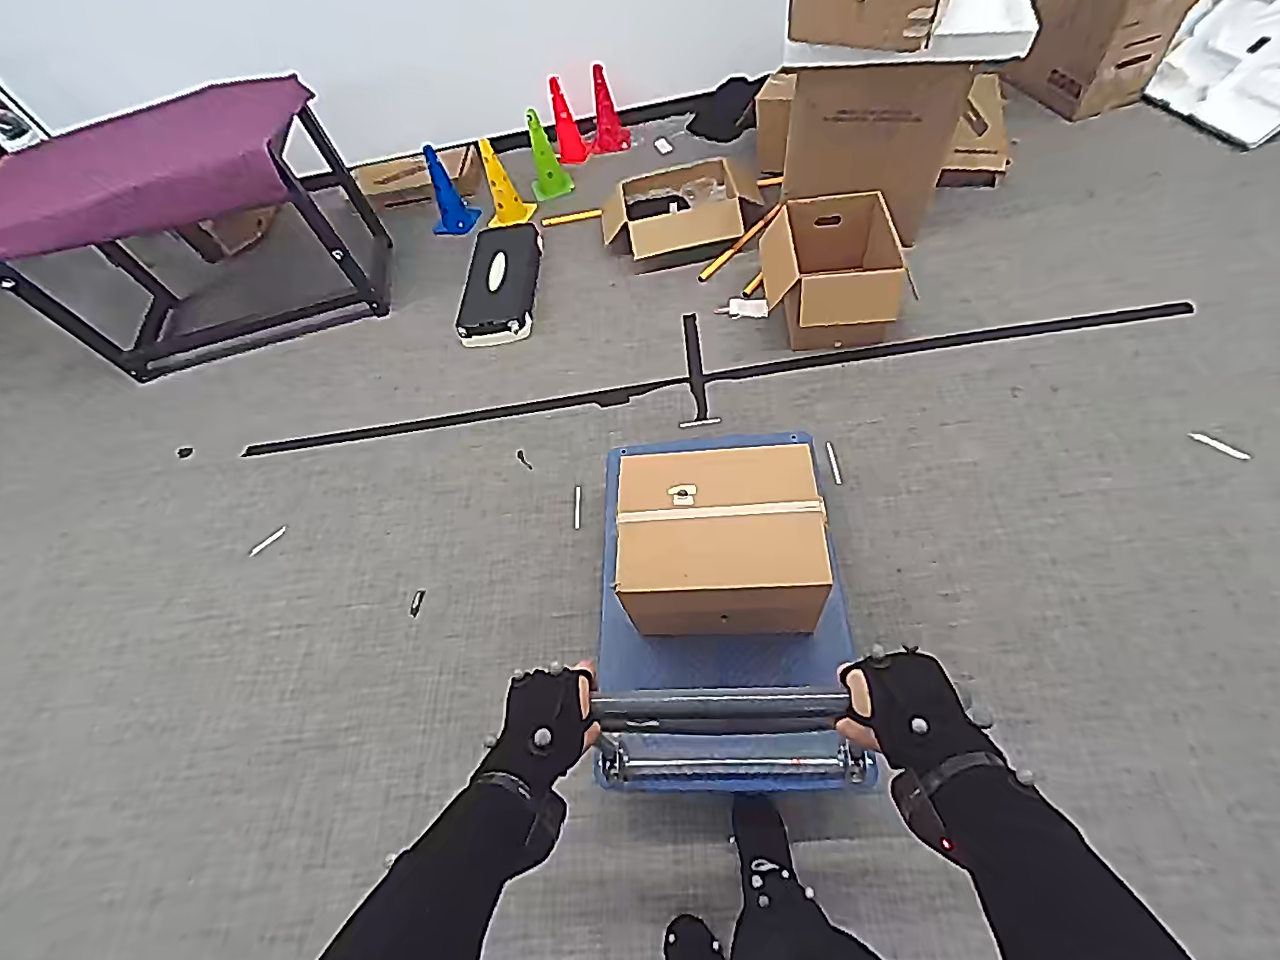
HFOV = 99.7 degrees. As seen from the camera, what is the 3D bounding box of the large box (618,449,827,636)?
[{"bbox_3d":[0.178,0.158,1.232,0.408,0.320,0.320,-5,57,9],"label":"large box"}]
